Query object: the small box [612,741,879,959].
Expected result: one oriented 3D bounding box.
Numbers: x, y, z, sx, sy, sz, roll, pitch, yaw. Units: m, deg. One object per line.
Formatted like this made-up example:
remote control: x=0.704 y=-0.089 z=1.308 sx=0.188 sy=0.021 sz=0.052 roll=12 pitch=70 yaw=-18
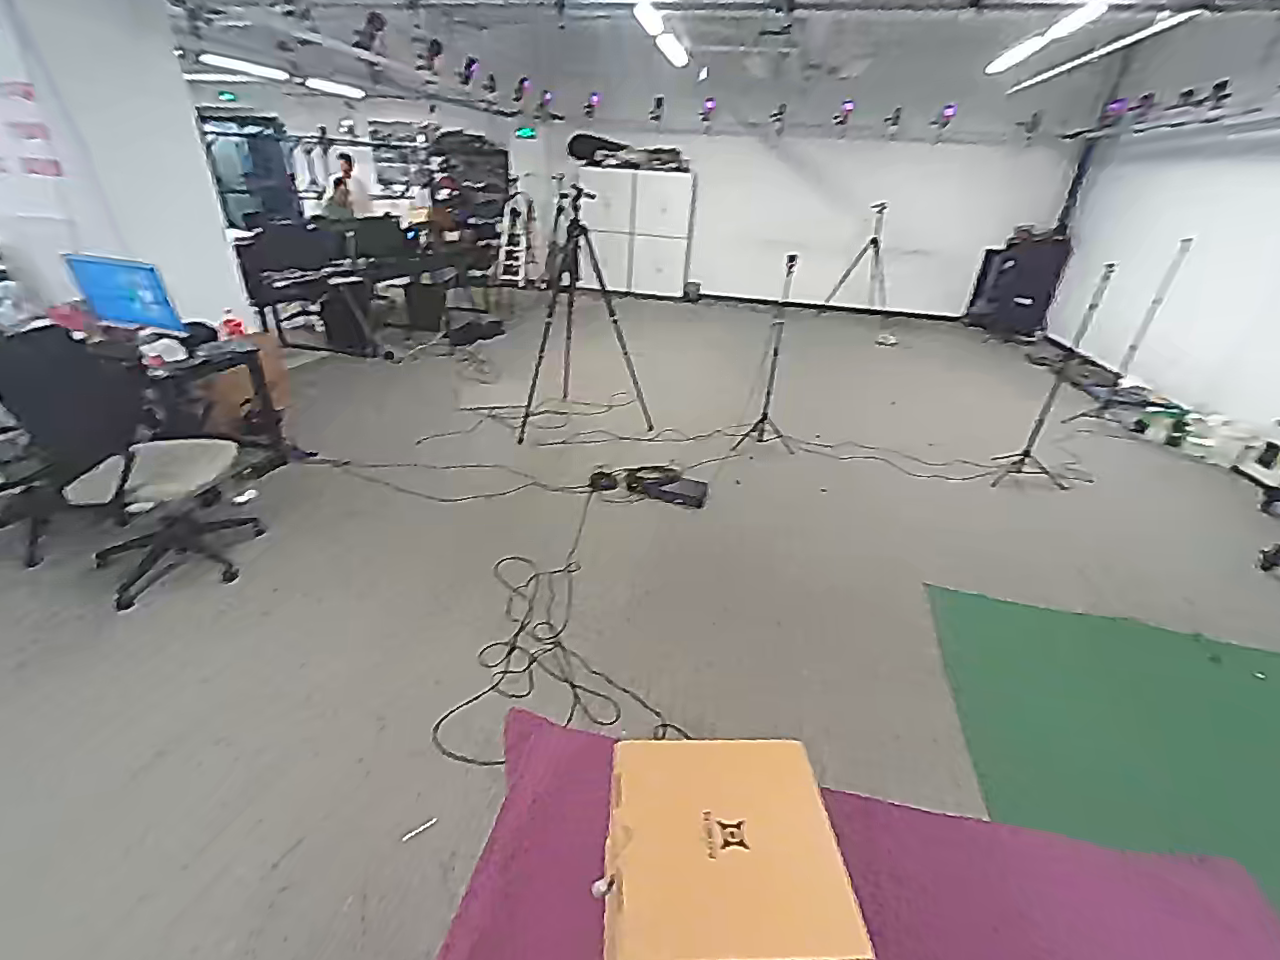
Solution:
small box: x=0.068 y=0.352 z=0.466 sx=0.179 sy=0.176 sz=0.168 roll=1 pitch=29 yaw=-5
